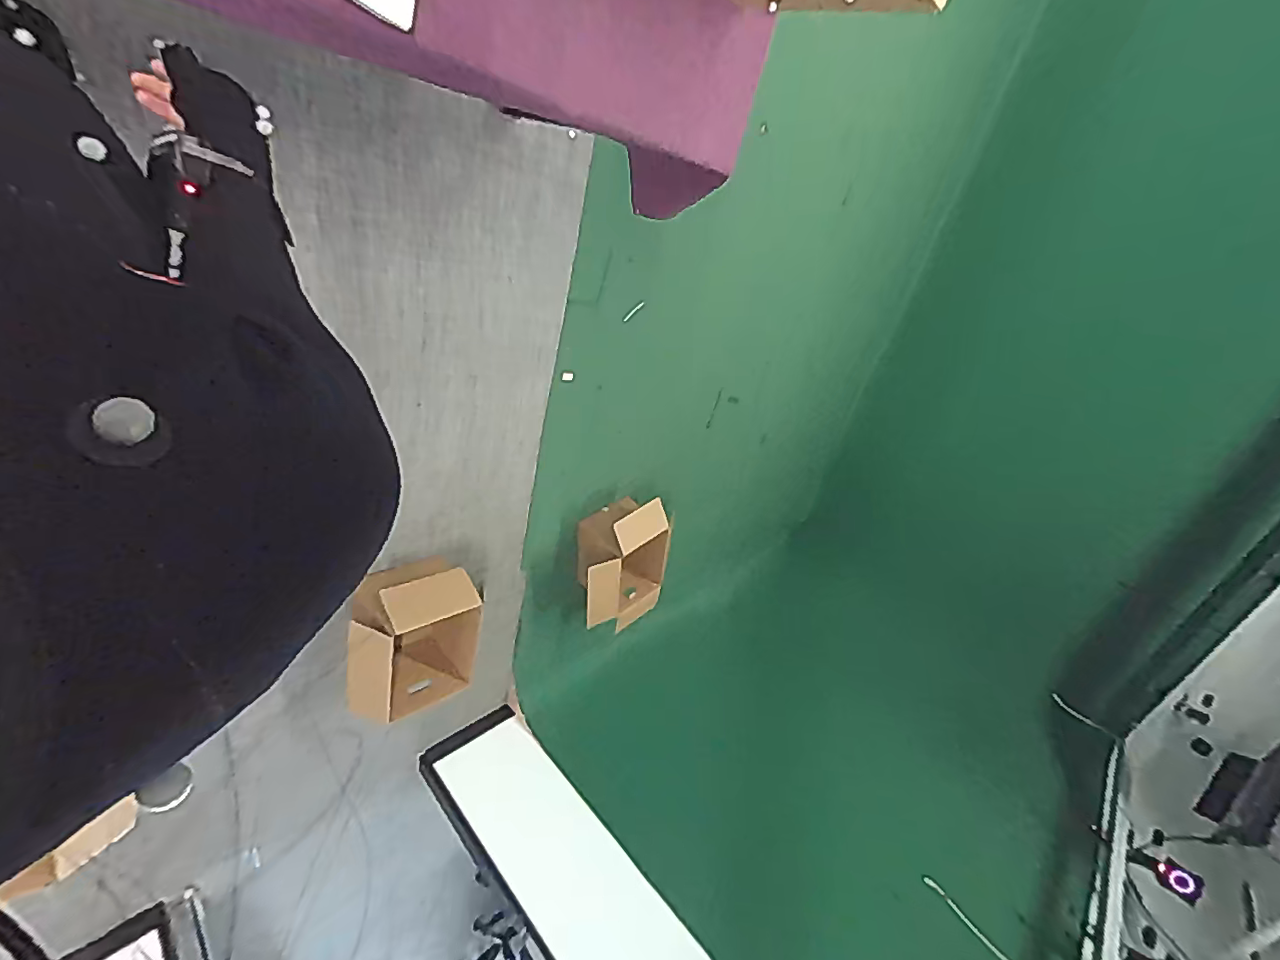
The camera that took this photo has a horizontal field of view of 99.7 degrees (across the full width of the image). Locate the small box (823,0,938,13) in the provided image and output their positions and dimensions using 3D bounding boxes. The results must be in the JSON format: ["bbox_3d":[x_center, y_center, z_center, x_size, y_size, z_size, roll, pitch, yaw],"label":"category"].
[{"bbox_3d":[0.301,-0.721,0.665,0.168,0.176,0.179,-15,131,-46],"label":"small box"}]

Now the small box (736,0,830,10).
[{"bbox_3d":[0.192,-0.802,0.757,0.168,0.176,0.179,-14,129,-46],"label":"small box"}]
